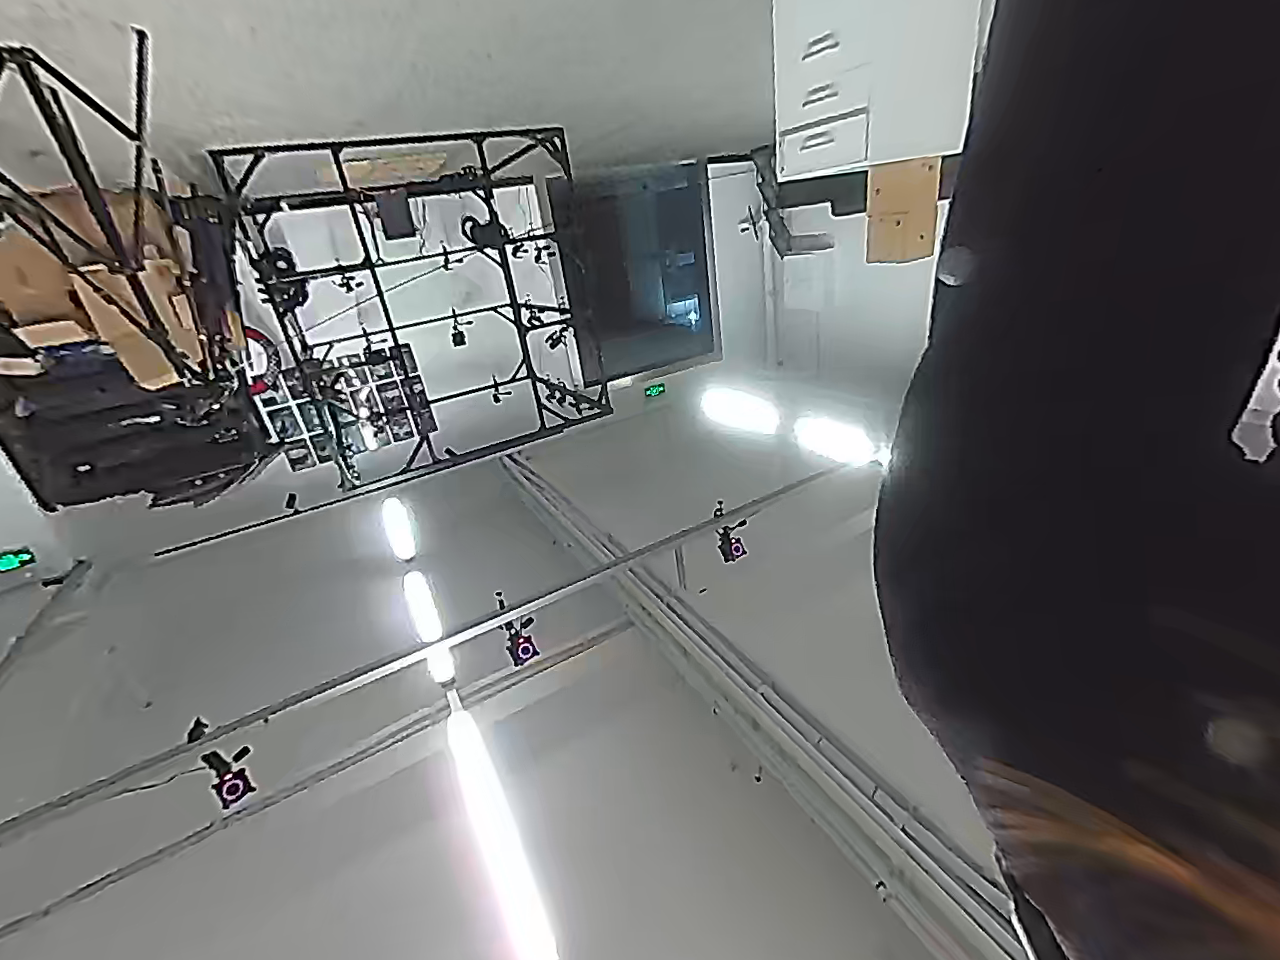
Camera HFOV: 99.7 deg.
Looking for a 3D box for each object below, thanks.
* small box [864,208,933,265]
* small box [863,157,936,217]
[{"bbox_3d":[0.958,-0.905,2.008,0.179,0.176,0.168,-22,-150,-22],"label":"small box"},{"bbox_3d":[0.930,-1.050,1.935,0.168,0.176,0.179,-23,-151,-26],"label":"small box"}]
